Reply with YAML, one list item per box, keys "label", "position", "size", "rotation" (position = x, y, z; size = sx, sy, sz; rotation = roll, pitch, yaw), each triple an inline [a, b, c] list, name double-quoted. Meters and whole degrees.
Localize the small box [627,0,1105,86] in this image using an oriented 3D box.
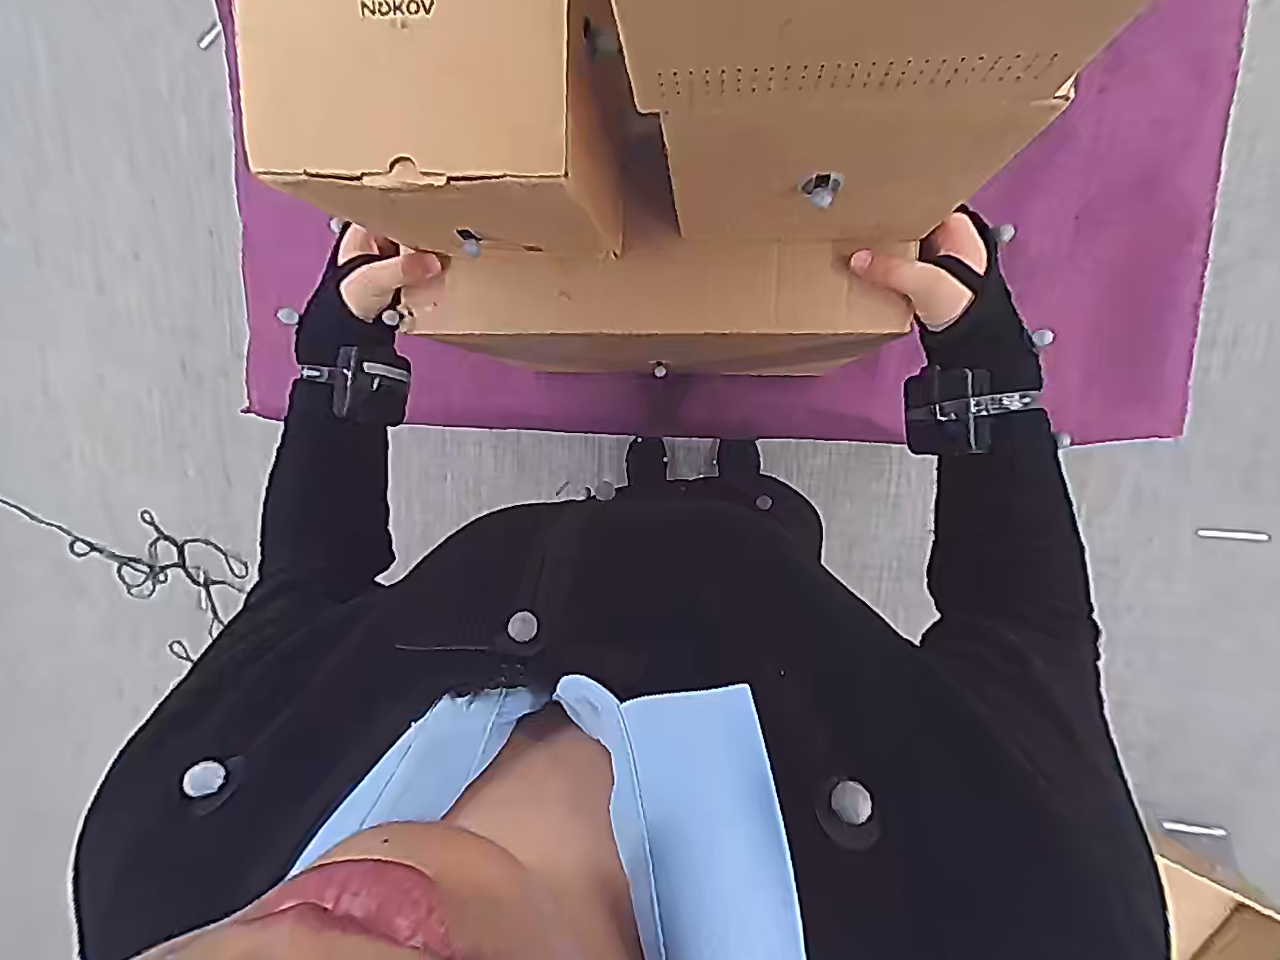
- label: "small box"
  position: [0.077, -0.237, 0.140]
  size: [0.179, 0.176, 0.168]
  rotation: [4, 96, 7]
